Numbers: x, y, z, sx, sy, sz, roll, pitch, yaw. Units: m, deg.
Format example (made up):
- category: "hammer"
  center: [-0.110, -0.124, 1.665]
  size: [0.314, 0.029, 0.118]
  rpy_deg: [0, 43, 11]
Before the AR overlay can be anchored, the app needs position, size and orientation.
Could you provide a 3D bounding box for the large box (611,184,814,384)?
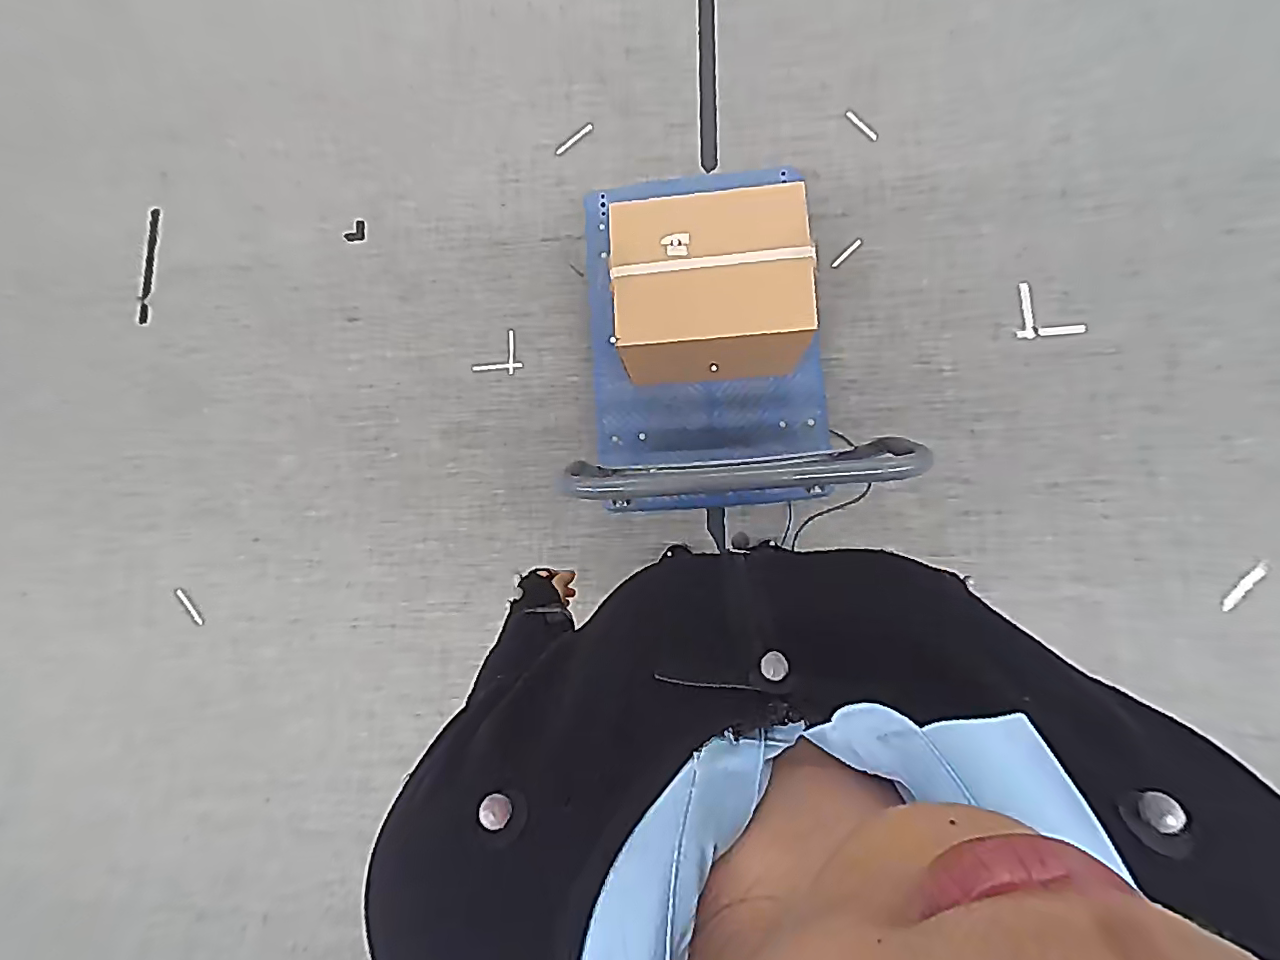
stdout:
- category: "large box"
  center: [0.163, -0.428, 1.264]
  size: [0.408, 0.320, 0.320]
  rpy_deg: [-4, 83, 7]
